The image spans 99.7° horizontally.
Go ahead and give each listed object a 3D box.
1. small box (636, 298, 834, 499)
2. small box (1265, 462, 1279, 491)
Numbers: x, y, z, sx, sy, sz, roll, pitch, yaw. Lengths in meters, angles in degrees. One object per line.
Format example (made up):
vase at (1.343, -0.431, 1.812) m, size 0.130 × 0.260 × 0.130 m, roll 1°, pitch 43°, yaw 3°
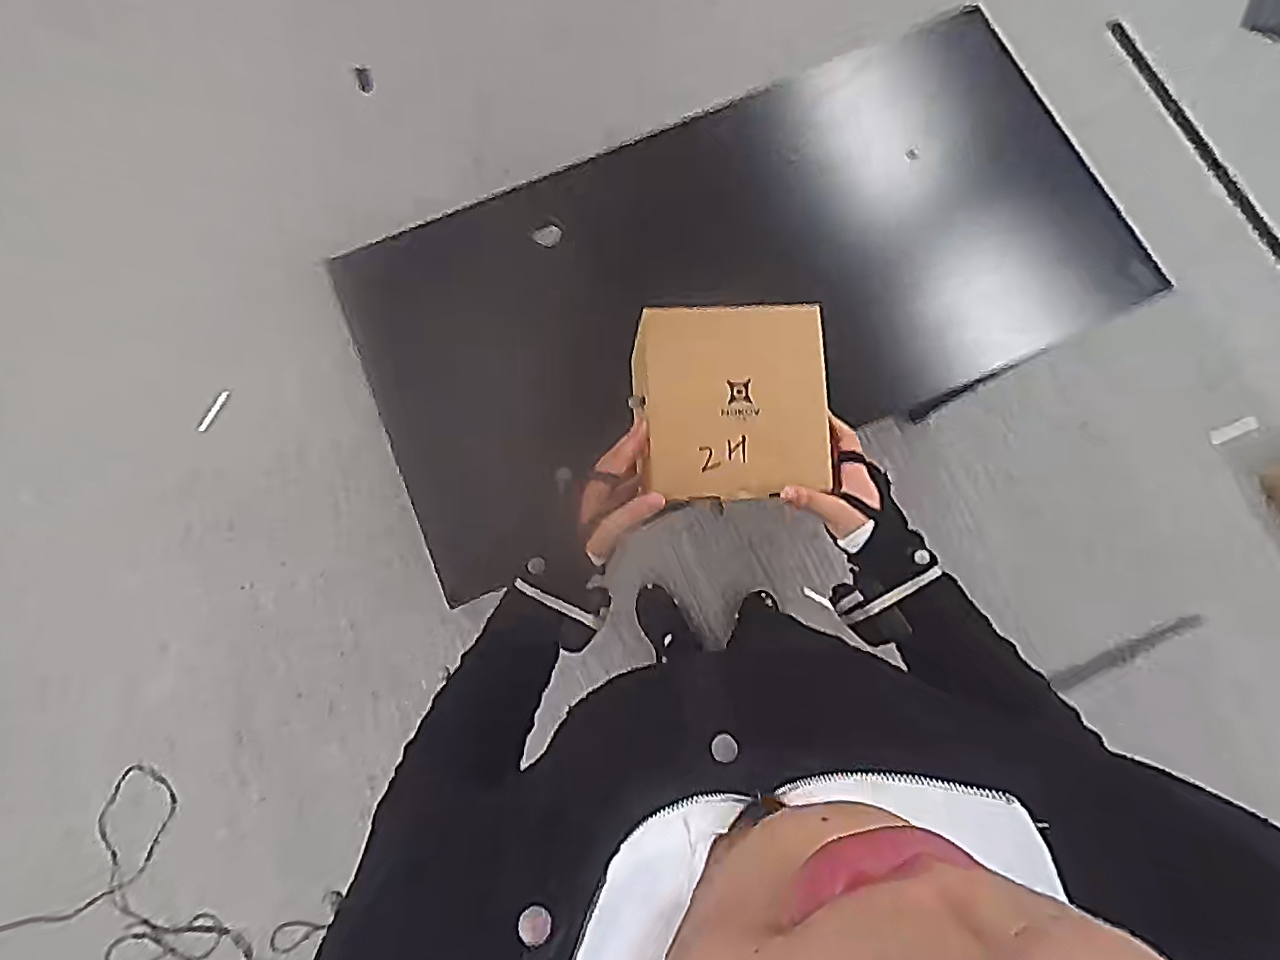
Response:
small box at (0.084, -0.072, 0.564) m, size 0.168 × 0.176 × 0.179 m, roll -2°, pitch 87°, yaw -4°
small box at (1.833, 0.000, 1.414) m, size 0.168 × 0.176 × 0.179 m, roll -25°, pitch 81°, yaw -3°
